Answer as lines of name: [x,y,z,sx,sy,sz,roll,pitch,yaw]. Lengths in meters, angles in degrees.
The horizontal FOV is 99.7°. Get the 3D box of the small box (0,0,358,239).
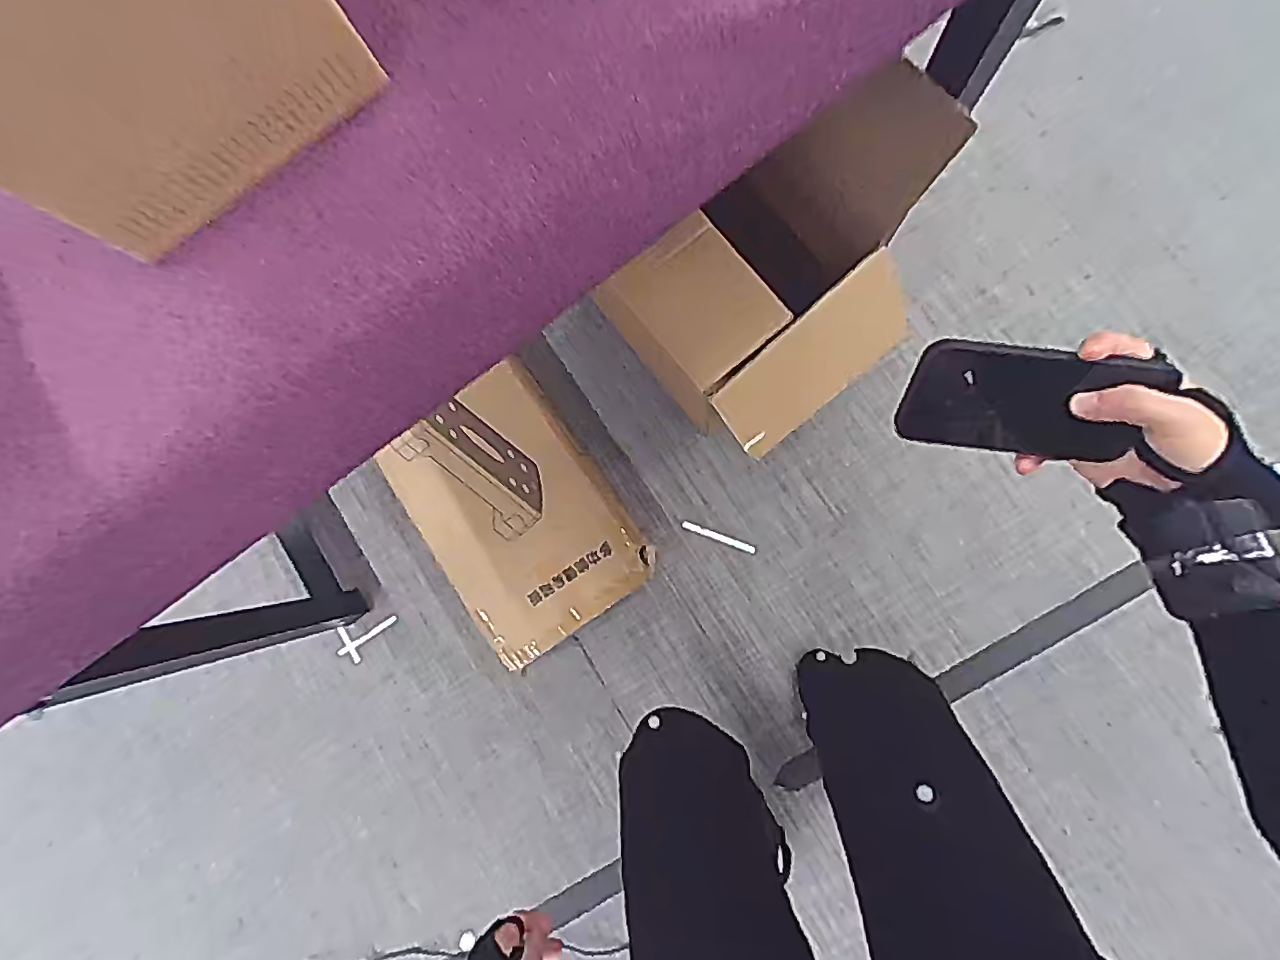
small box: [-0.262,-0.253,0.237,0.179,0.176,0.168,-35,80,3]
